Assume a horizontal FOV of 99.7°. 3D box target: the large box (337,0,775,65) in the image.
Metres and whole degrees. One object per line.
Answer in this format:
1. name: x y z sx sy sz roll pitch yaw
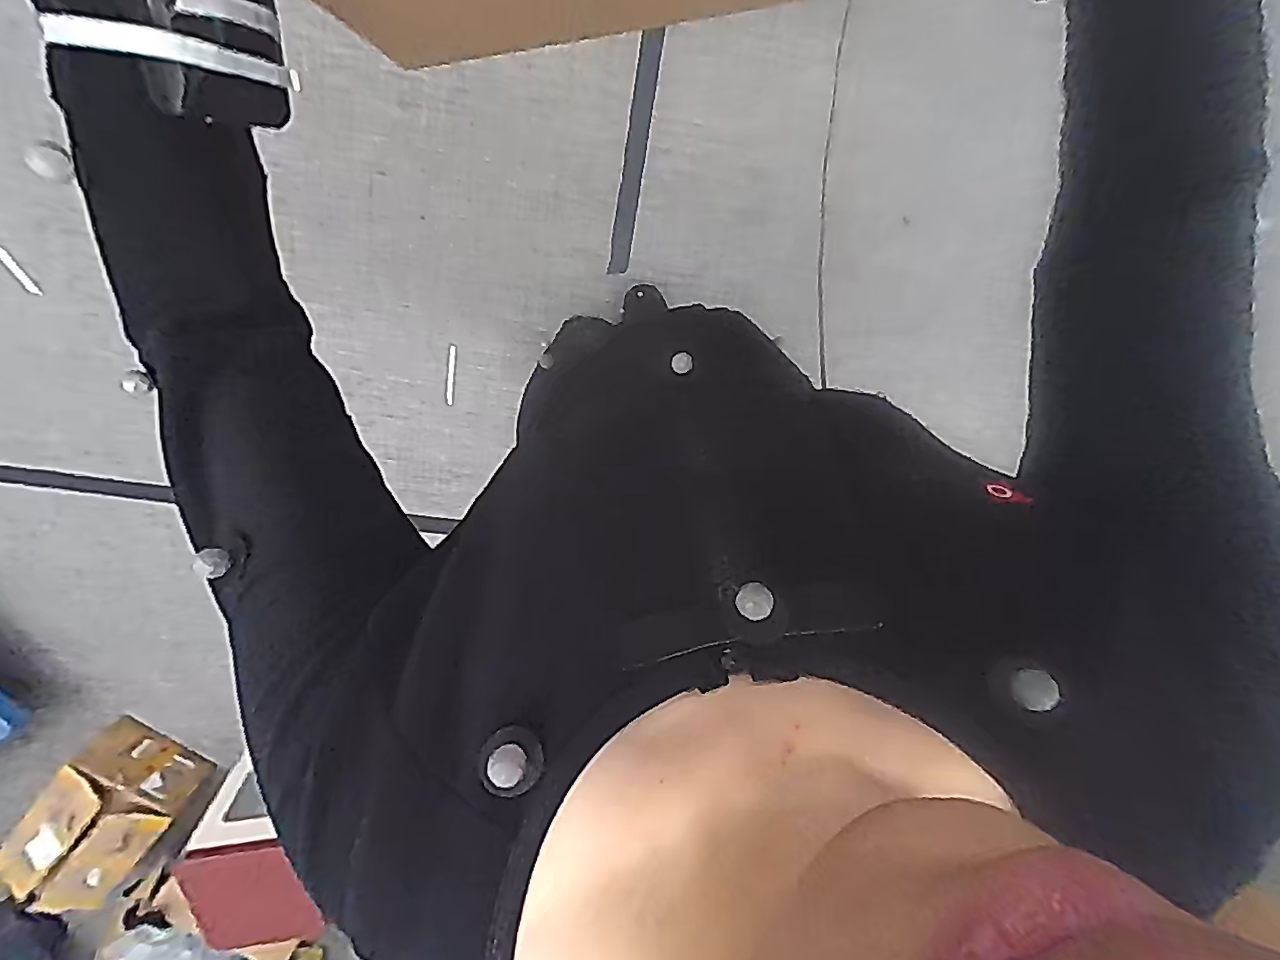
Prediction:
1. large box: -0.038 -0.496 0.313 0.408 0.320 0.320 -10 117 -1
